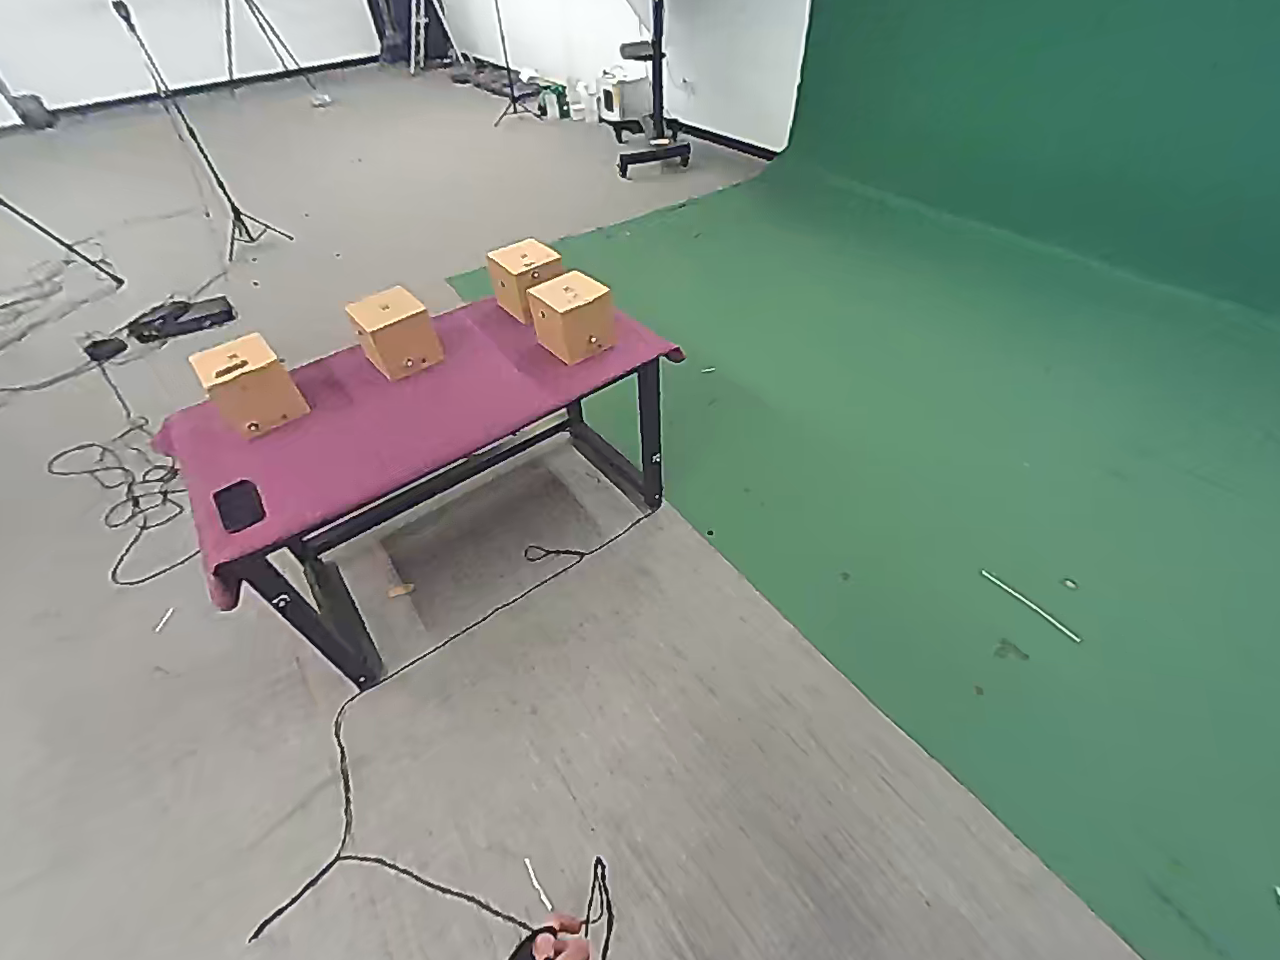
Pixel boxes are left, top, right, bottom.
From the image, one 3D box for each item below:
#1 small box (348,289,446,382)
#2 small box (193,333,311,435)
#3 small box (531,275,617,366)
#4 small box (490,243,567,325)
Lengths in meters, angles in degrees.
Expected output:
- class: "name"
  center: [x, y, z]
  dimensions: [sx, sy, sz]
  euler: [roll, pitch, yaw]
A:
- class: "small box"
  center: [-0.674, -0.402, 1.511]
  dimensions: [0.168, 0.176, 0.179]
  euler: [-33, 55, -24]
- class: "small box"
  center: [-0.973, -0.237, 1.368]
  dimensions: [0.168, 0.176, 0.179]
  euler: [-33, 53, -26]
- class: "small box"
  center: [-0.183, -0.449, 1.525]
  dimensions: [0.168, 0.176, 0.179]
  euler: [-32, 52, -23]
- class: "small box"
  center: [-0.339, -0.608, 1.685]
  dimensions: [0.168, 0.176, 0.179]
  euler: [-32, 53, -24]
